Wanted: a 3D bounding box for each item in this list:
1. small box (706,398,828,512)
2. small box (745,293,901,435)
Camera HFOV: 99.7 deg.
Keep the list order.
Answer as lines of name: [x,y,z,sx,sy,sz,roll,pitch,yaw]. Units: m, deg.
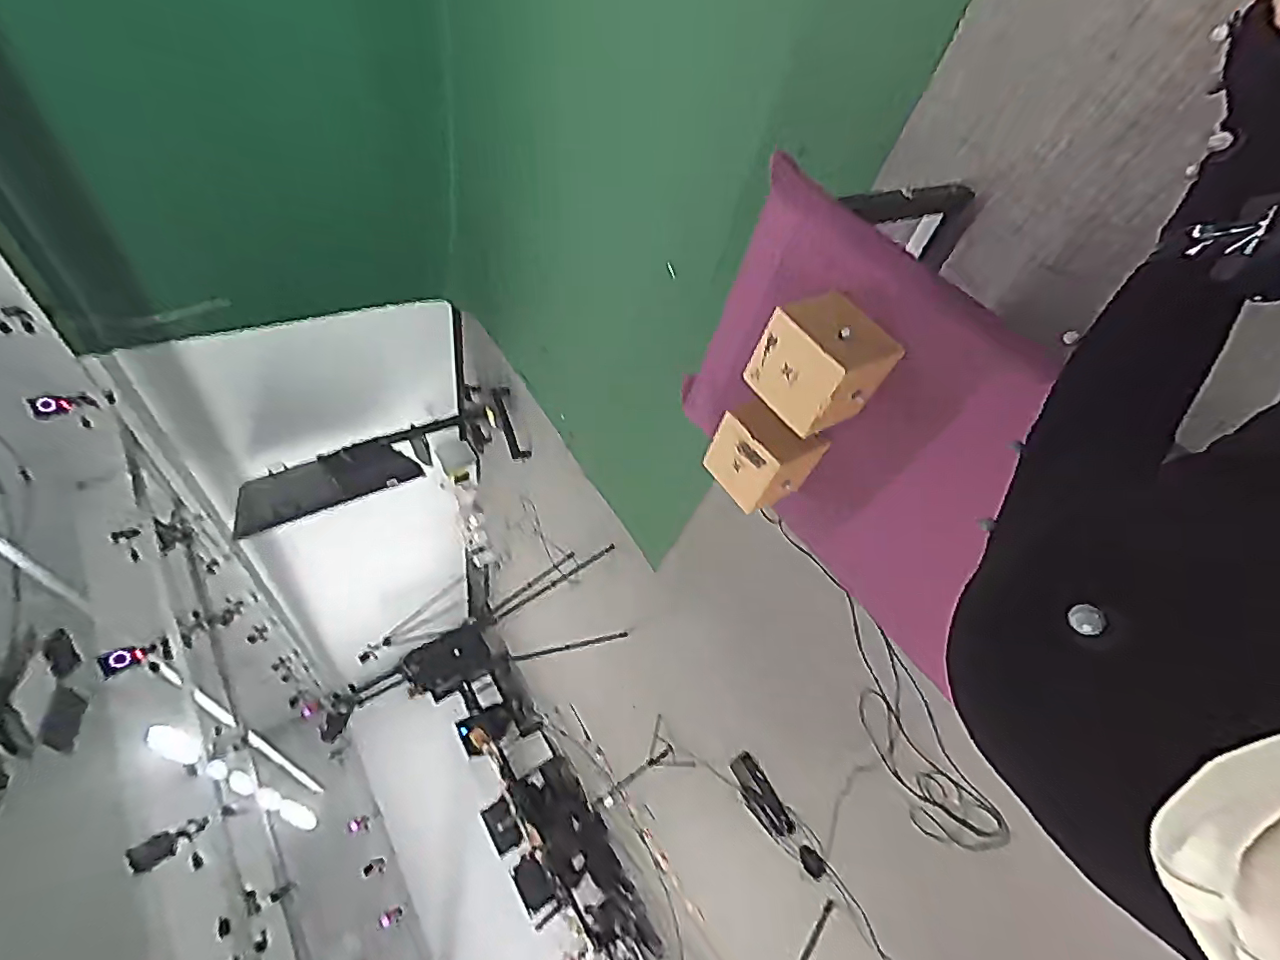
small box: [0.279,-0.067,1.182,0.168,0.176,0.179,52,148,25]
small box: [0.332,-0.218,0.988,0.179,0.176,0.168,52,148,23]
